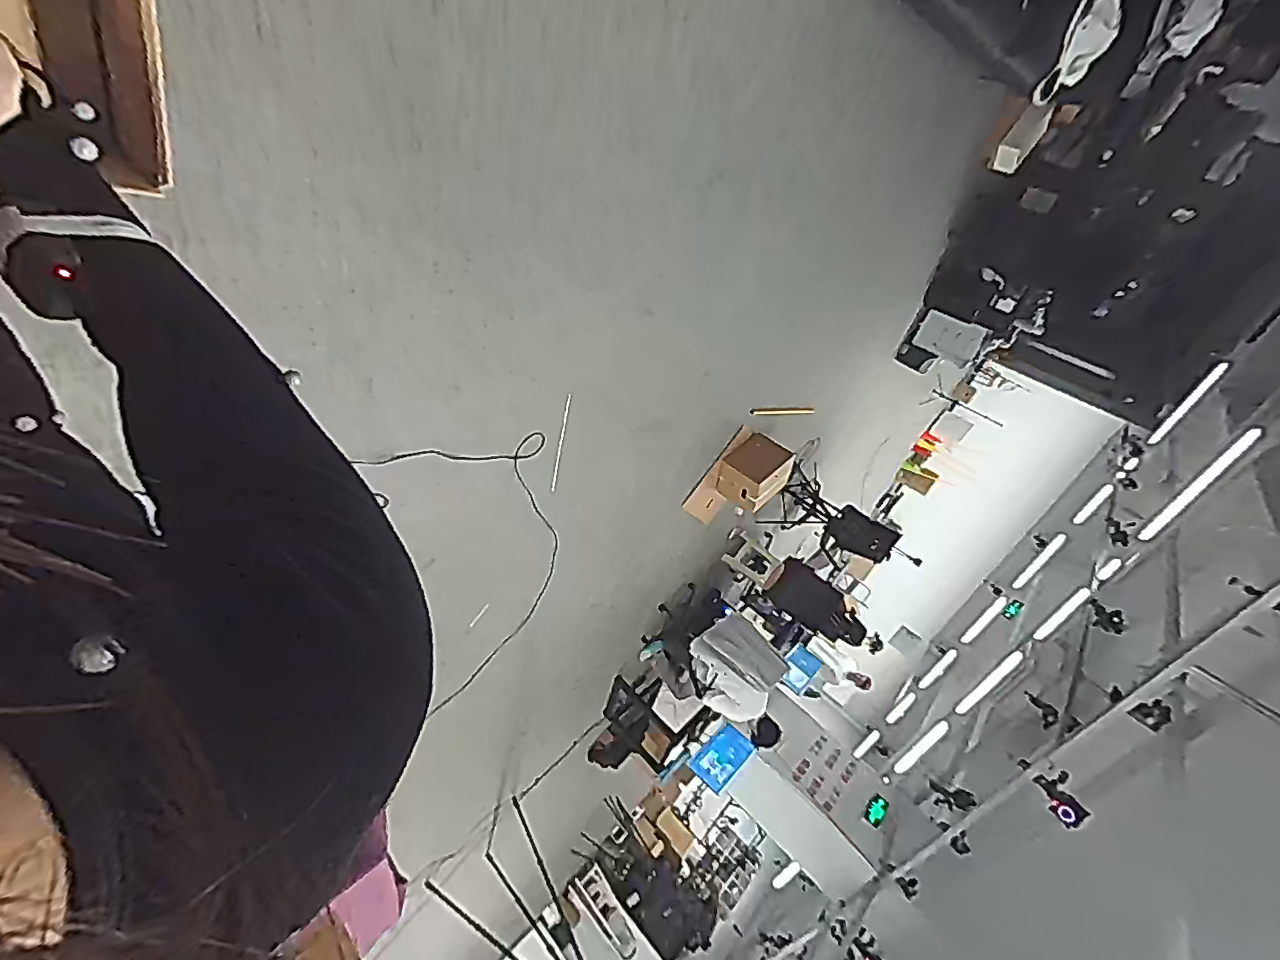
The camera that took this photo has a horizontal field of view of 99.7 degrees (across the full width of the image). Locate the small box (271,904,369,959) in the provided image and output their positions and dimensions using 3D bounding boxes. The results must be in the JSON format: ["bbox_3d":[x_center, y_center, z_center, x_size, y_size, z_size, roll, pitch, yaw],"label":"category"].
[{"bbox_3d":[-0.816,1.246,1.391,0.168,0.176,0.179,-27,145,-40],"label":"small box"}]
